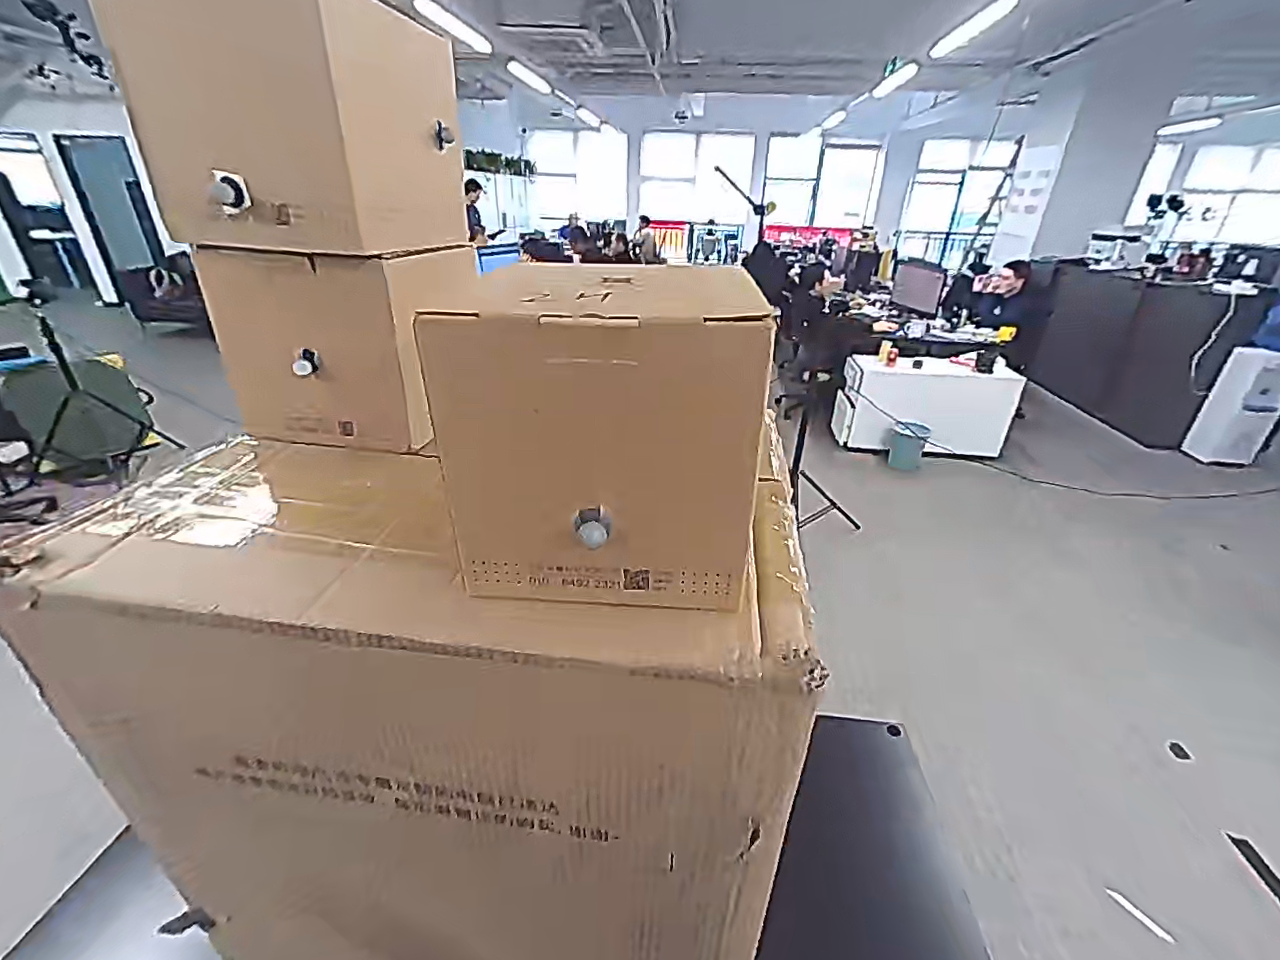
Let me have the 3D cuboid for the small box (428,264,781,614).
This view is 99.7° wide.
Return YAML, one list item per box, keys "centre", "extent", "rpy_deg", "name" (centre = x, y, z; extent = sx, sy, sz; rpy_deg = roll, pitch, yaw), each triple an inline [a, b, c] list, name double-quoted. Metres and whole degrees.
- centre: [-0.012, -0.039, 0.352]
  extent: [0.168, 0.176, 0.179]
  rpy_deg: [2, 29, 4]
  name: "small box"

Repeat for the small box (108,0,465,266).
- centre: [-0.257, -0.276, 0.440]
  extent: [0.168, 0.176, 0.179]
  rpy_deg: [5, 28, 7]
  name: "small box"

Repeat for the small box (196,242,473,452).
- centre: [-0.264, -0.138, 0.529]
  extent: [0.168, 0.176, 0.179]
  rpy_deg: [6, 28, 5]
  name: "small box"
